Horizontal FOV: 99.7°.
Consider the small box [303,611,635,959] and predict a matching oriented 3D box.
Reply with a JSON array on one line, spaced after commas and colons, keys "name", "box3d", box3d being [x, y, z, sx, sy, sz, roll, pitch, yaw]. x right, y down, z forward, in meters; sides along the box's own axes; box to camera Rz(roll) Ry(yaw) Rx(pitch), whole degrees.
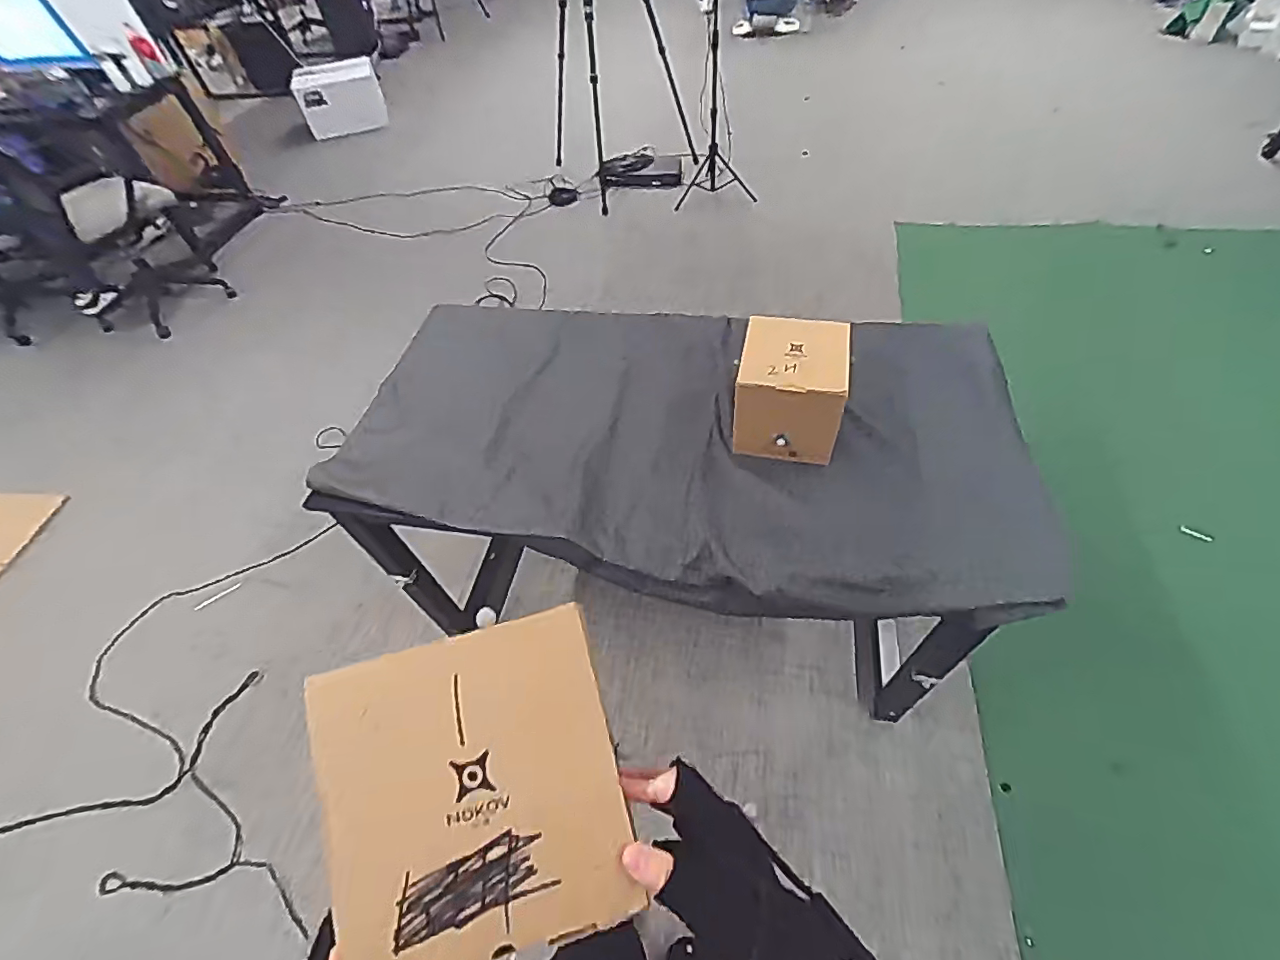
[{"name": "small box", "box3d": [-0.106, 0.199, 0.390, 0.168, 0.176, 0.179, -14, 77, -9]}]

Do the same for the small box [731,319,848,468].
[{"name": "small box", "box3d": [0.250, -0.146, 0.921, 0.168, 0.176, 0.179, 8, 54, 13]}]
